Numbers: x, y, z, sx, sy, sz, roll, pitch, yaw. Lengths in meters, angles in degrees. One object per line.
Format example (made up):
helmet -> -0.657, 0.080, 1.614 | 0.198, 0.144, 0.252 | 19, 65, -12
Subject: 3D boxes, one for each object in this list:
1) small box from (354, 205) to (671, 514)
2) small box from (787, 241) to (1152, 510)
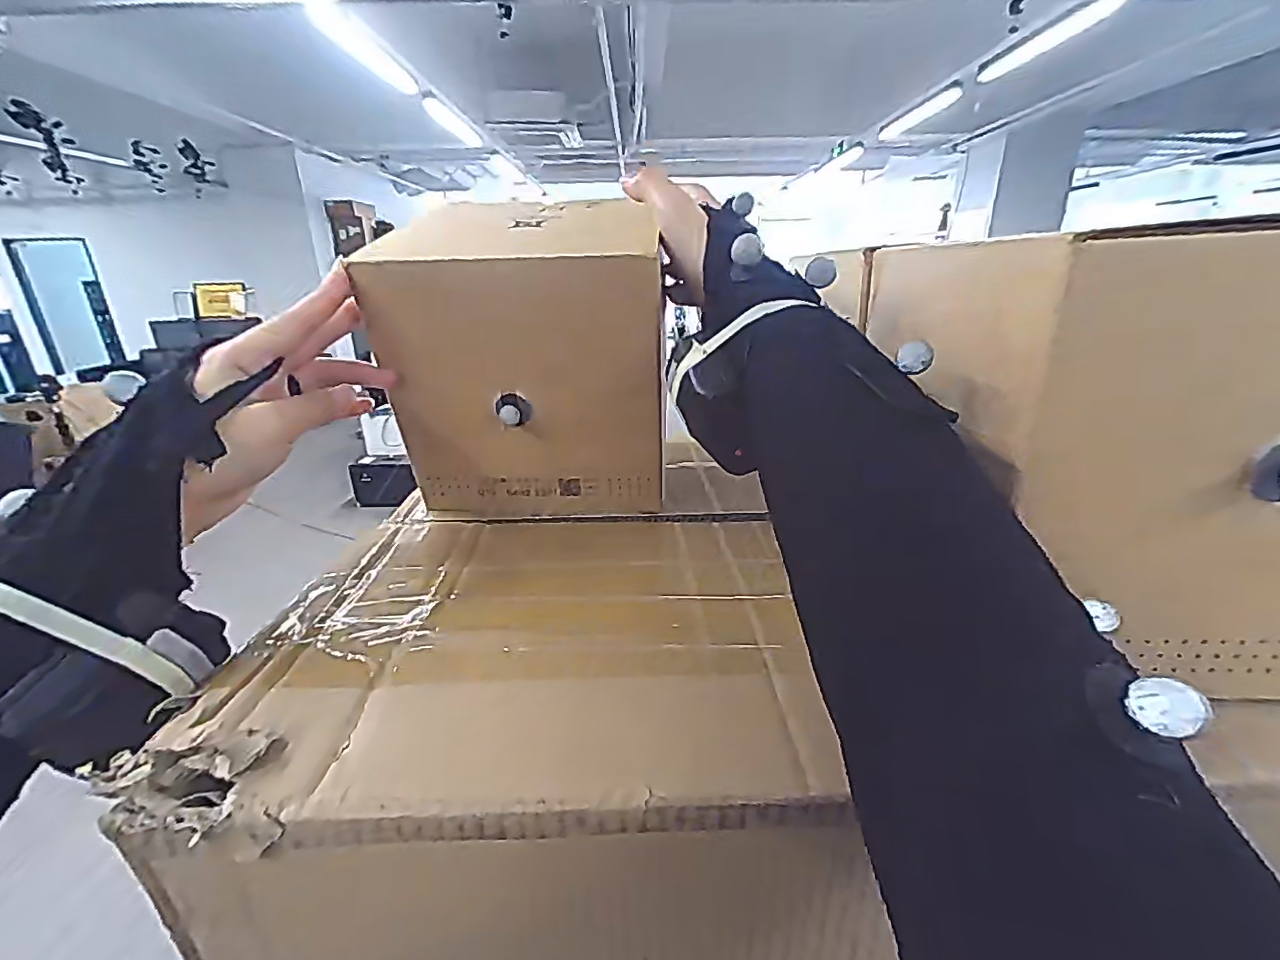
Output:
small box -> -0.062, -0.089, 0.391 | 0.168, 0.176, 0.179 | 1, 35, 4
small box -> 0.218, -0.081, 0.415 | 0.179, 0.176, 0.168 | -2, 20, 0
